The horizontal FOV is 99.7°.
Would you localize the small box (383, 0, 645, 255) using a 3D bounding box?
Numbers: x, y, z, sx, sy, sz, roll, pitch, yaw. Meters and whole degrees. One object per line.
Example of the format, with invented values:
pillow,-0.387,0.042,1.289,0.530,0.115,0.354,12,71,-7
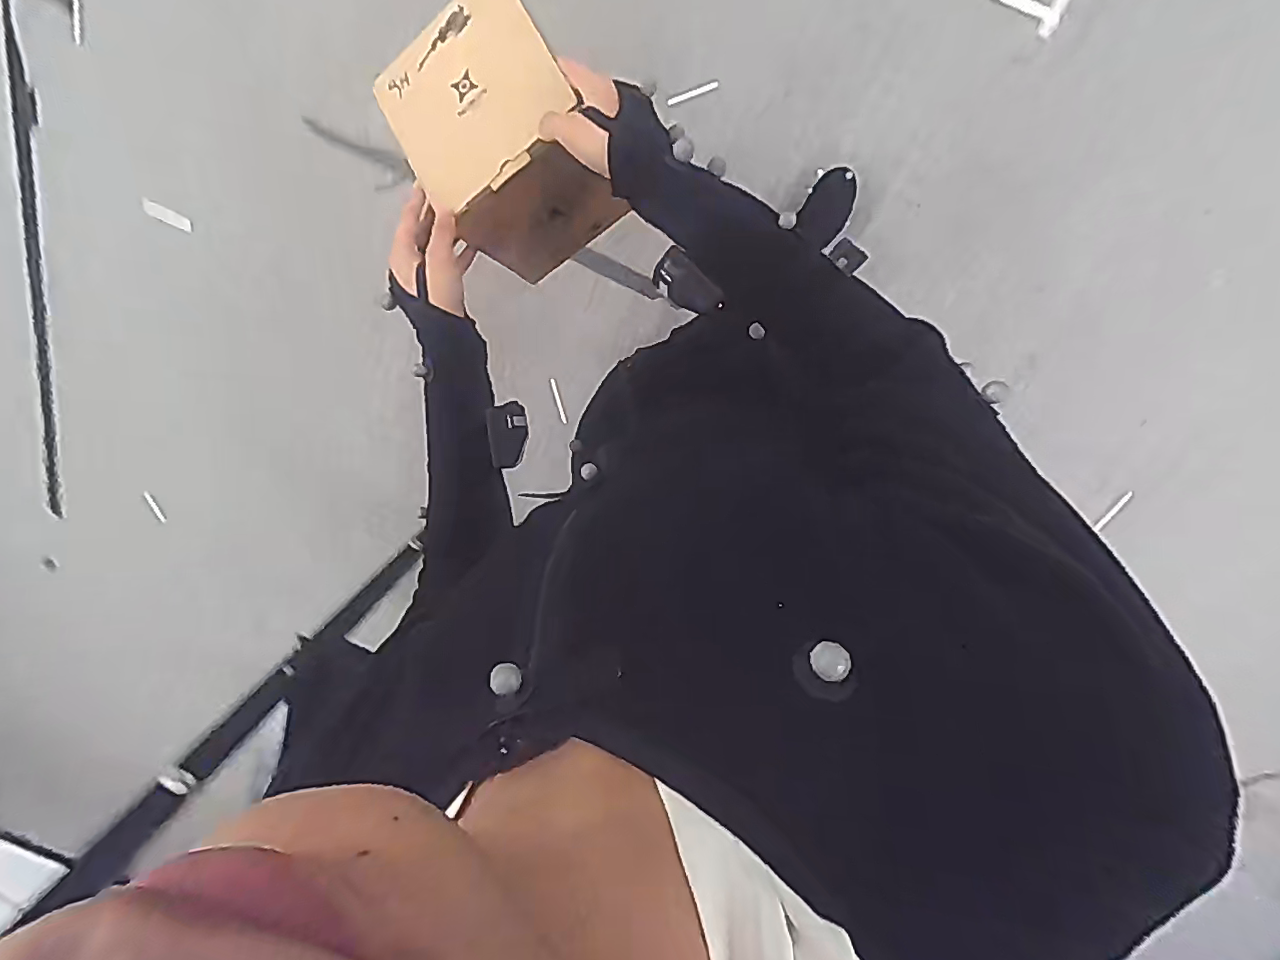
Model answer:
small box,-0.117,-0.362,0.561,0.168,0.176,0.179,-29,82,17
